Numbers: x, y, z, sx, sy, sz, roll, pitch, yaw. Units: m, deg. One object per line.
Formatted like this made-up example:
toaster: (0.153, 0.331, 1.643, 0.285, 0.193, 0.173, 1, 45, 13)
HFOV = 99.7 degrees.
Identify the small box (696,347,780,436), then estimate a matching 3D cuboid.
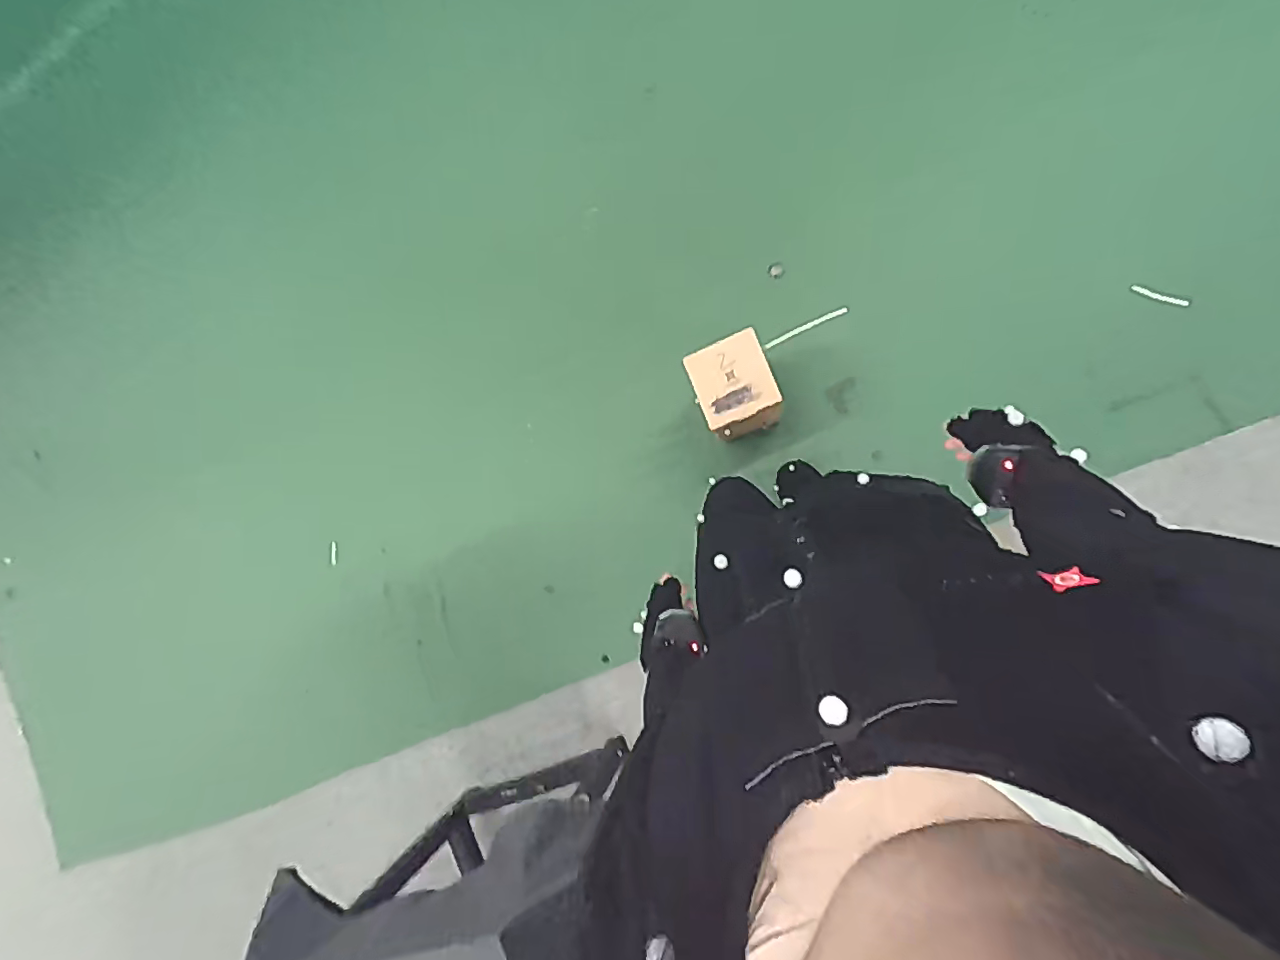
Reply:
small box: (0.260, -0.220, 1.400, 0.168, 0.176, 0.179, -20, 85, 14)
